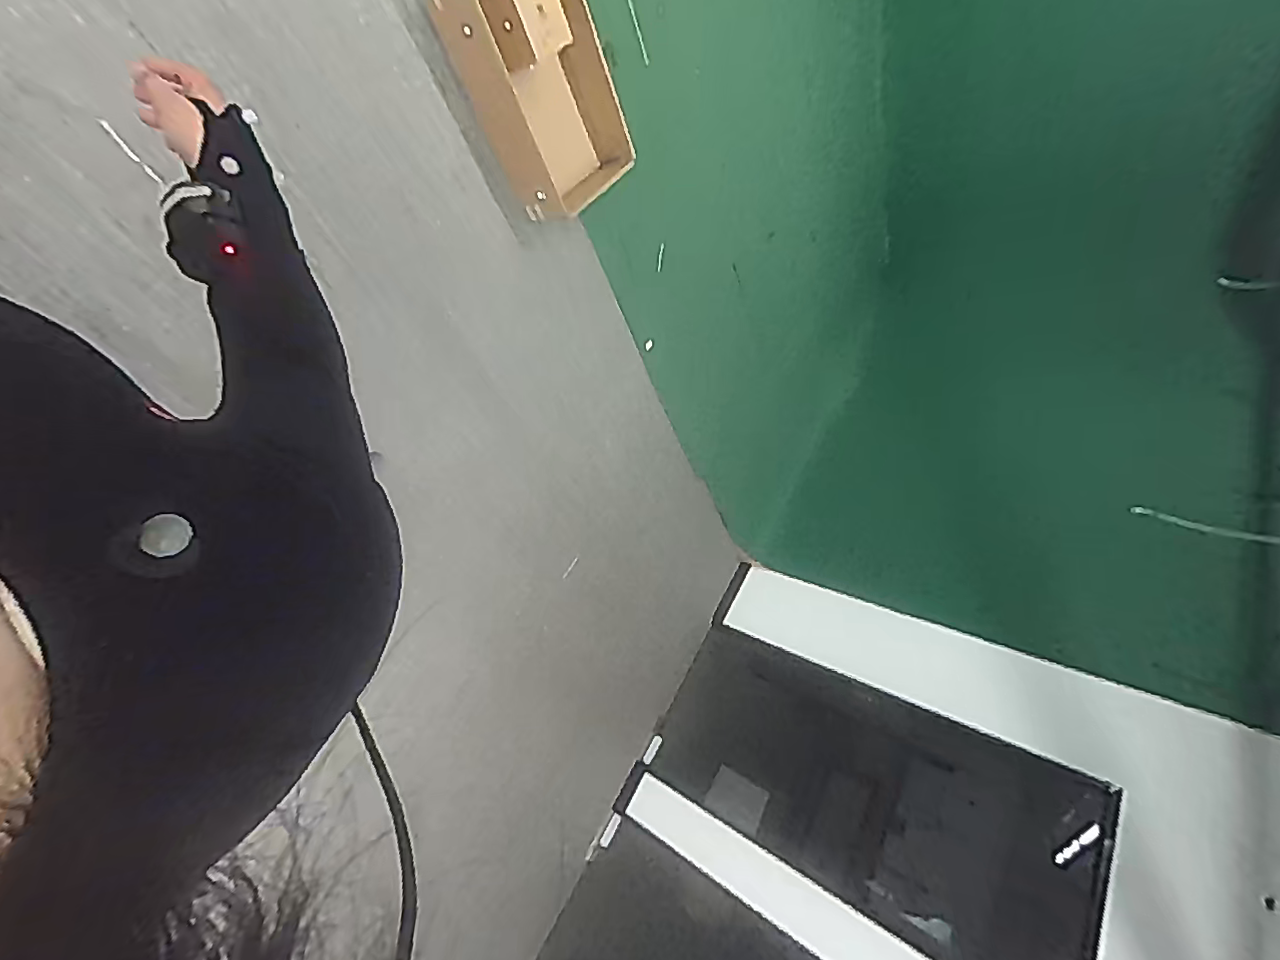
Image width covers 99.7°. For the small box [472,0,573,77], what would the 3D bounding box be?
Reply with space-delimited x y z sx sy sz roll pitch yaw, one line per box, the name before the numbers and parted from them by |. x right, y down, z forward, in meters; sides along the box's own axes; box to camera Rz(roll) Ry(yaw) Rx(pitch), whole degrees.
small box | -0.321 -1.242 1.471 0.168 0.176 0.179 -53 140 -25
